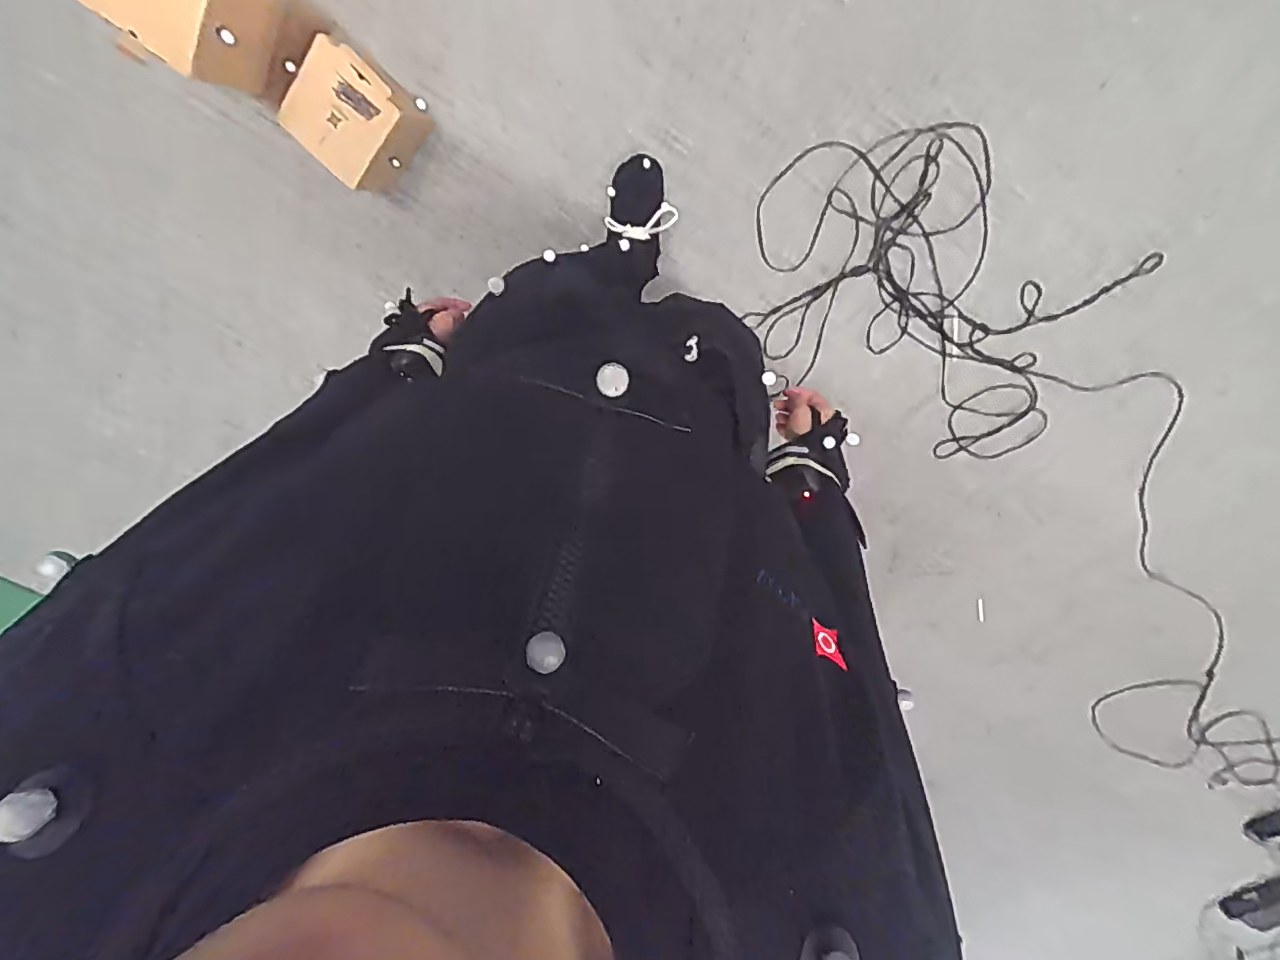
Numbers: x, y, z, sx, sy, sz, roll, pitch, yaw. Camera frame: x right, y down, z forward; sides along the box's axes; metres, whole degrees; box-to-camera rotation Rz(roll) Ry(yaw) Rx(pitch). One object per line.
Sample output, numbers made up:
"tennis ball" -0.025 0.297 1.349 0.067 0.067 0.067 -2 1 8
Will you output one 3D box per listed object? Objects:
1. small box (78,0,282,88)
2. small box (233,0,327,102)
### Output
"small box" -0.689 -0.744 0.822 0.168 0.176 0.179 33 116 -15
"small box" -0.701 -0.819 0.967 0.168 0.176 0.179 33 116 -15
